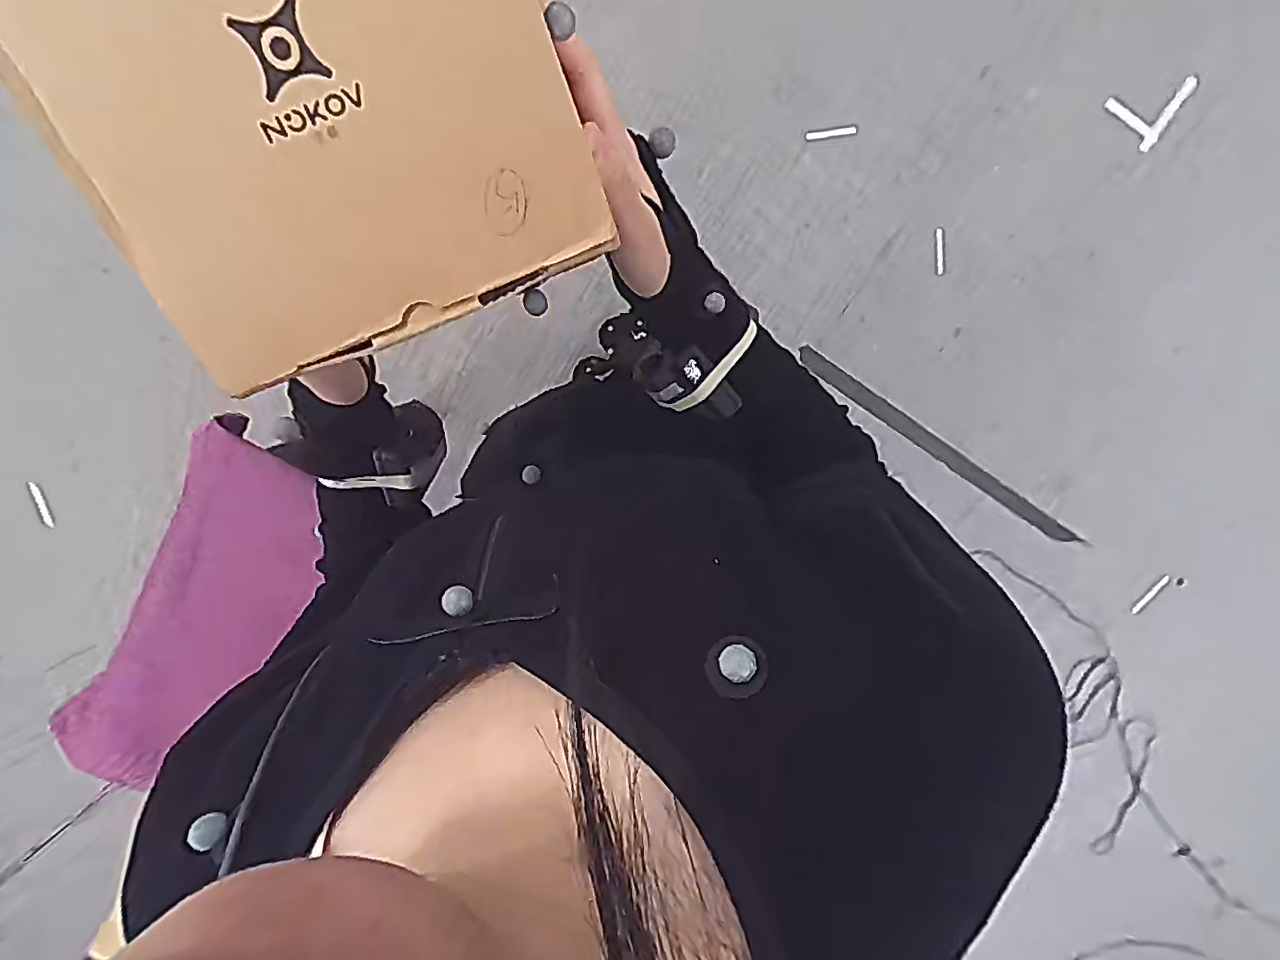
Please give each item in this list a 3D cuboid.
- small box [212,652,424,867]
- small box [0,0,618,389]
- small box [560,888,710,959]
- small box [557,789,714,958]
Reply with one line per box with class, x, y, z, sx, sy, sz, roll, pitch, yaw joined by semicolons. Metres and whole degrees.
small box;-0.443;0.390;0.775;0.168;0.176;0.179;36;102;-11
small box;-0.119;-0.165;0.248;0.168;0.176;0.179;-22;112;1
small box;-0.011;0.684;0.692;0.168;0.176;0.179;31;104;-9
small box;-0.009;0.634;0.849;0.168;0.176;0.179;32;103;-9
